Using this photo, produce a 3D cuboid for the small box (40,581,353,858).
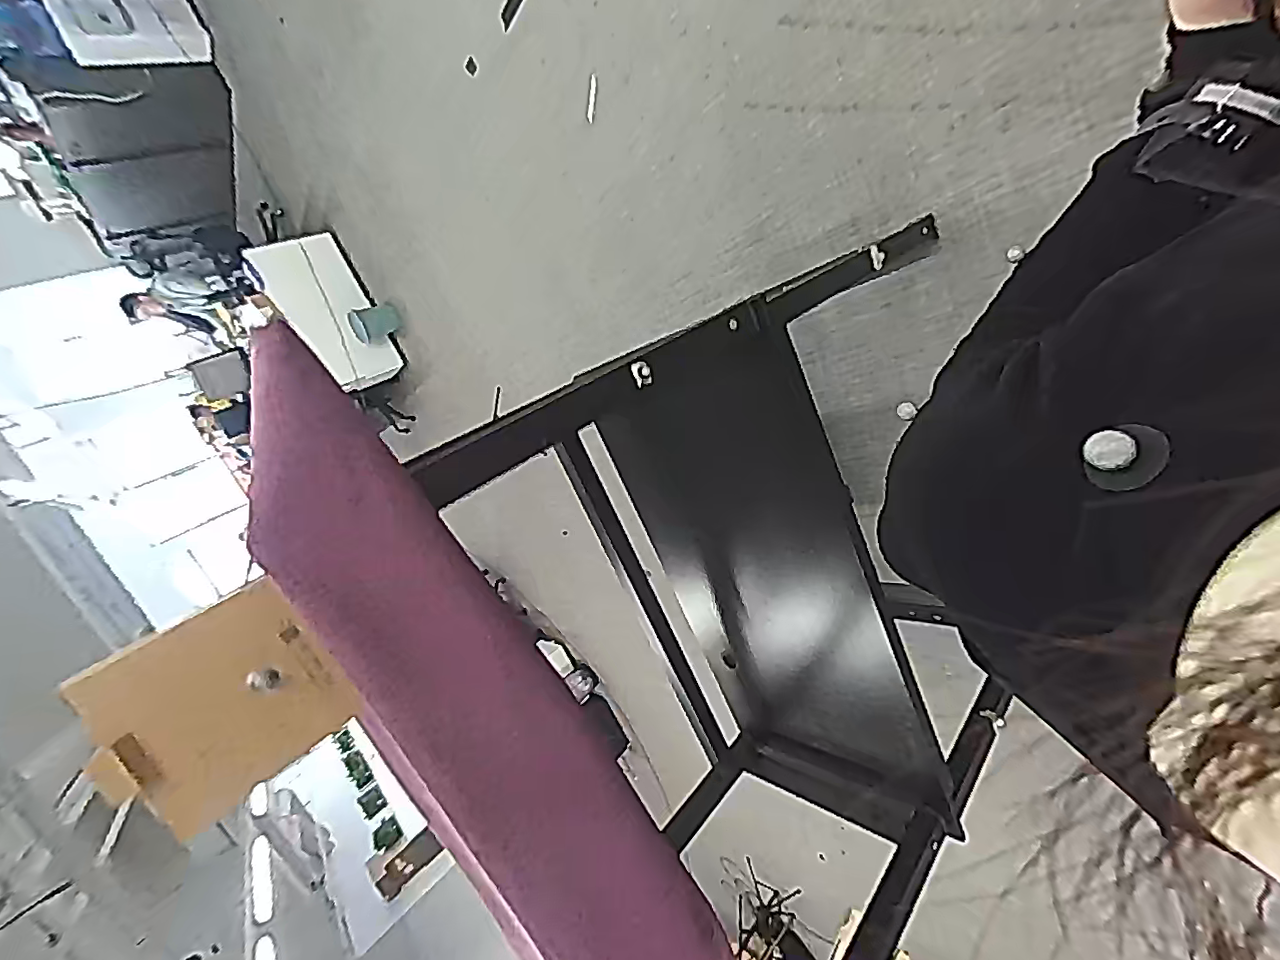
[{"bbox_3d":[-0.415,0.215,0.543,0.179,0.176,0.168,-18,104,56],"label":"small box"}]
